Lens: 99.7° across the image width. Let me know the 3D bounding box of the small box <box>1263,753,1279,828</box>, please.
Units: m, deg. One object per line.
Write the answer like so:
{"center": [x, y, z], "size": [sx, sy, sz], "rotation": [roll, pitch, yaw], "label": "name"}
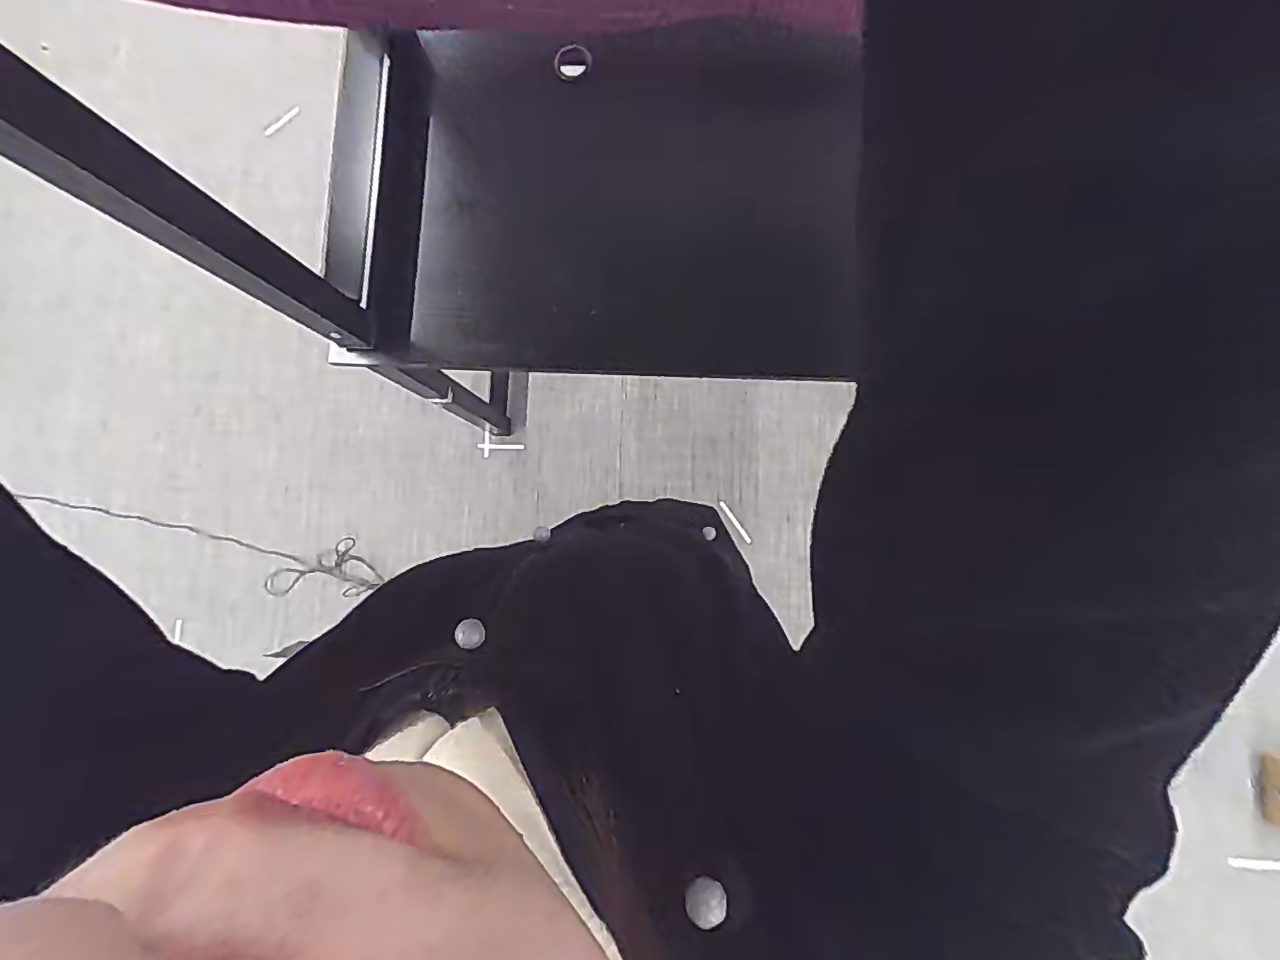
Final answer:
{"center": [1.646, 0.777, 1.278], "size": [0.168, 0.176, 0.179], "rotation": [3, 86, 3], "label": "small box"}
